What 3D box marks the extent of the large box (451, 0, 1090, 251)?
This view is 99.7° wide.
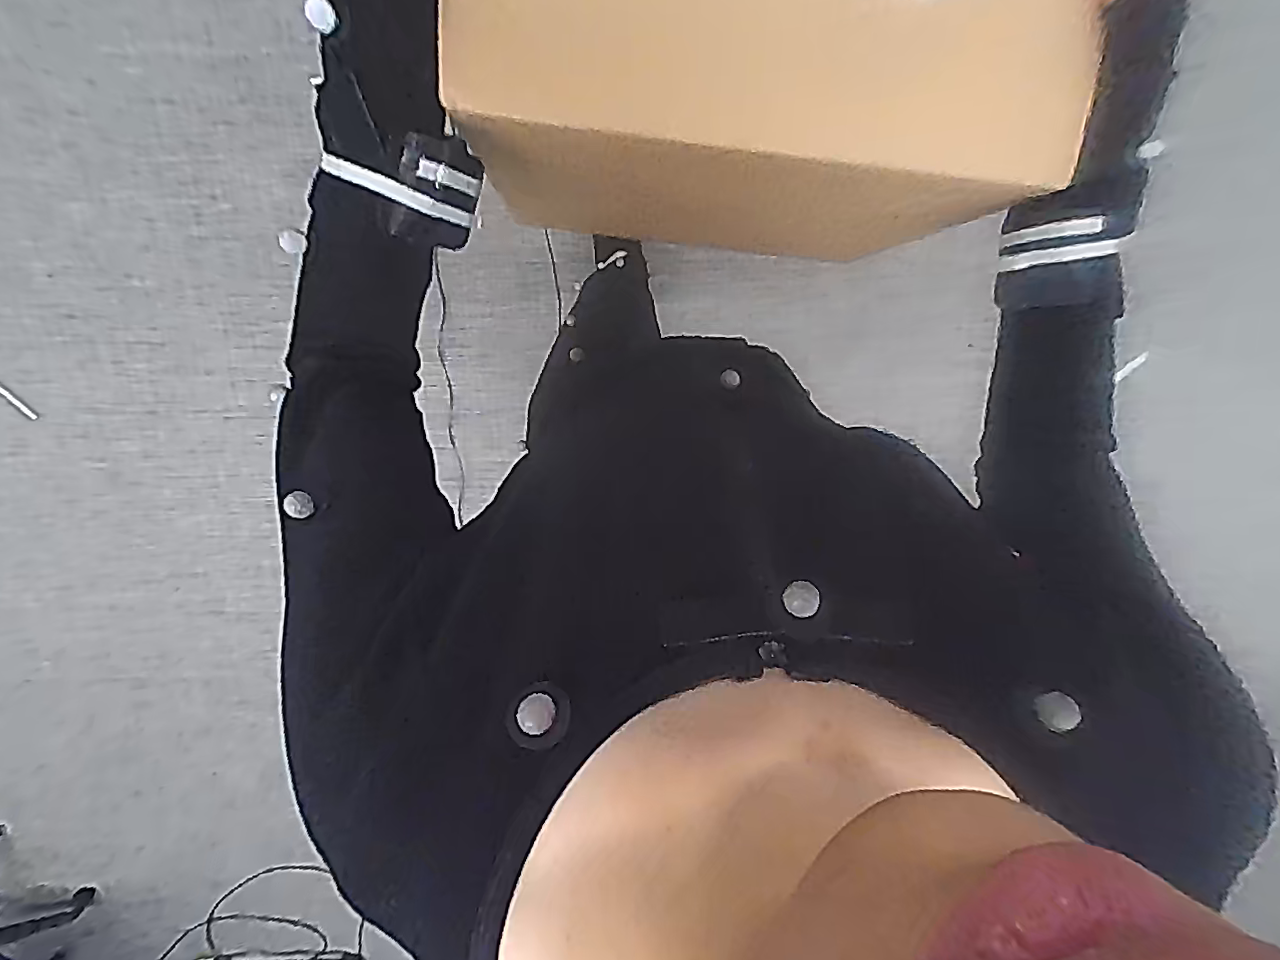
[{"bbox_3d":[0.079,-0.402,0.458,0.408,0.320,0.320,4,102,-6],"label":"large box"}]
